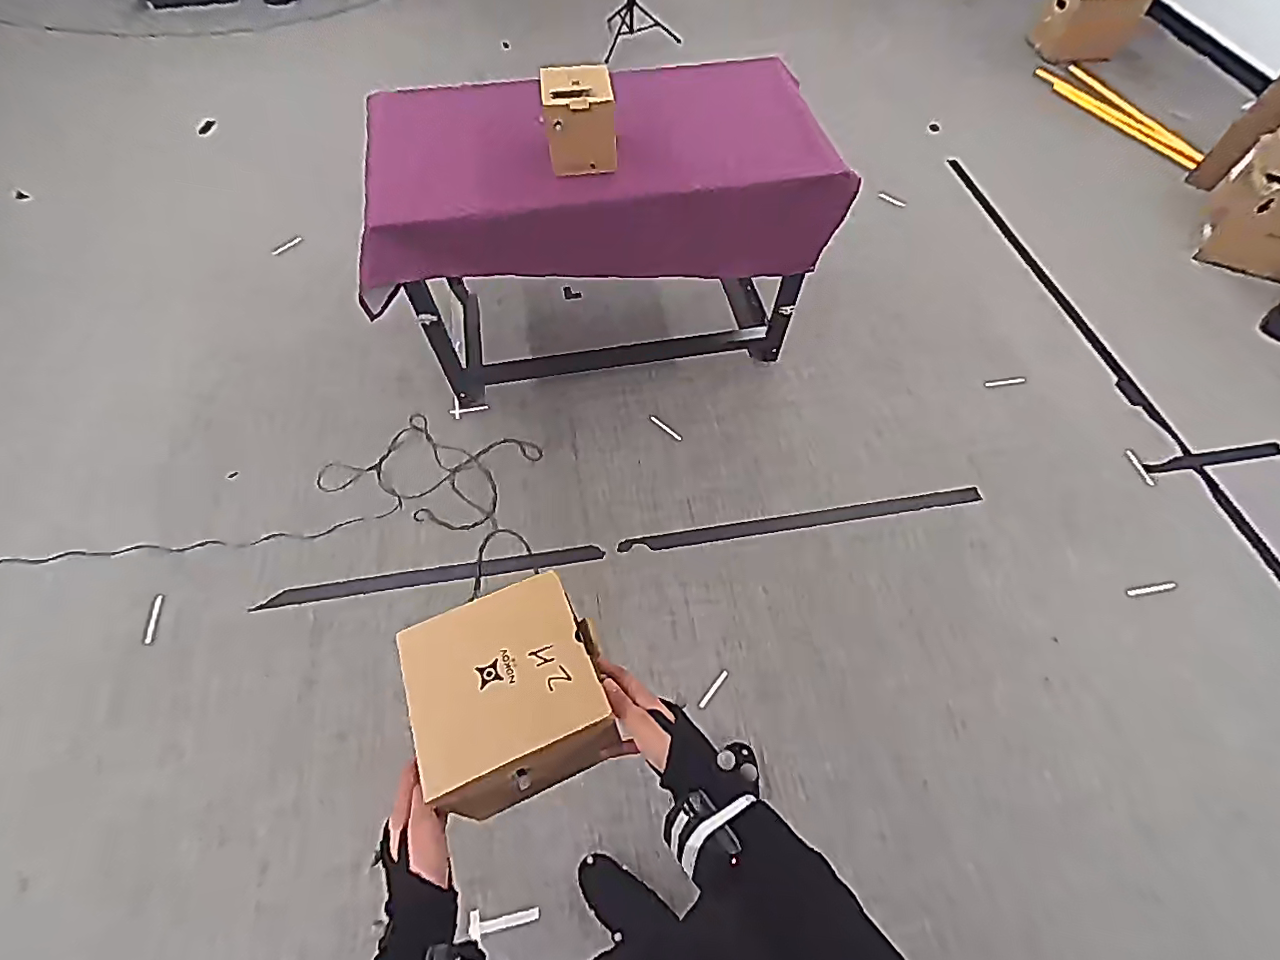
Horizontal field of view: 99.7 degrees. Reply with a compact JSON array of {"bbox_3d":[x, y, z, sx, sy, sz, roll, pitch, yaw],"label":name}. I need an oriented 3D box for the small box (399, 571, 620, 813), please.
[{"bbox_3d":[-0.132,0.233,0.584,0.179,0.176,0.168,-20,55,-12],"label":"small box"}]
